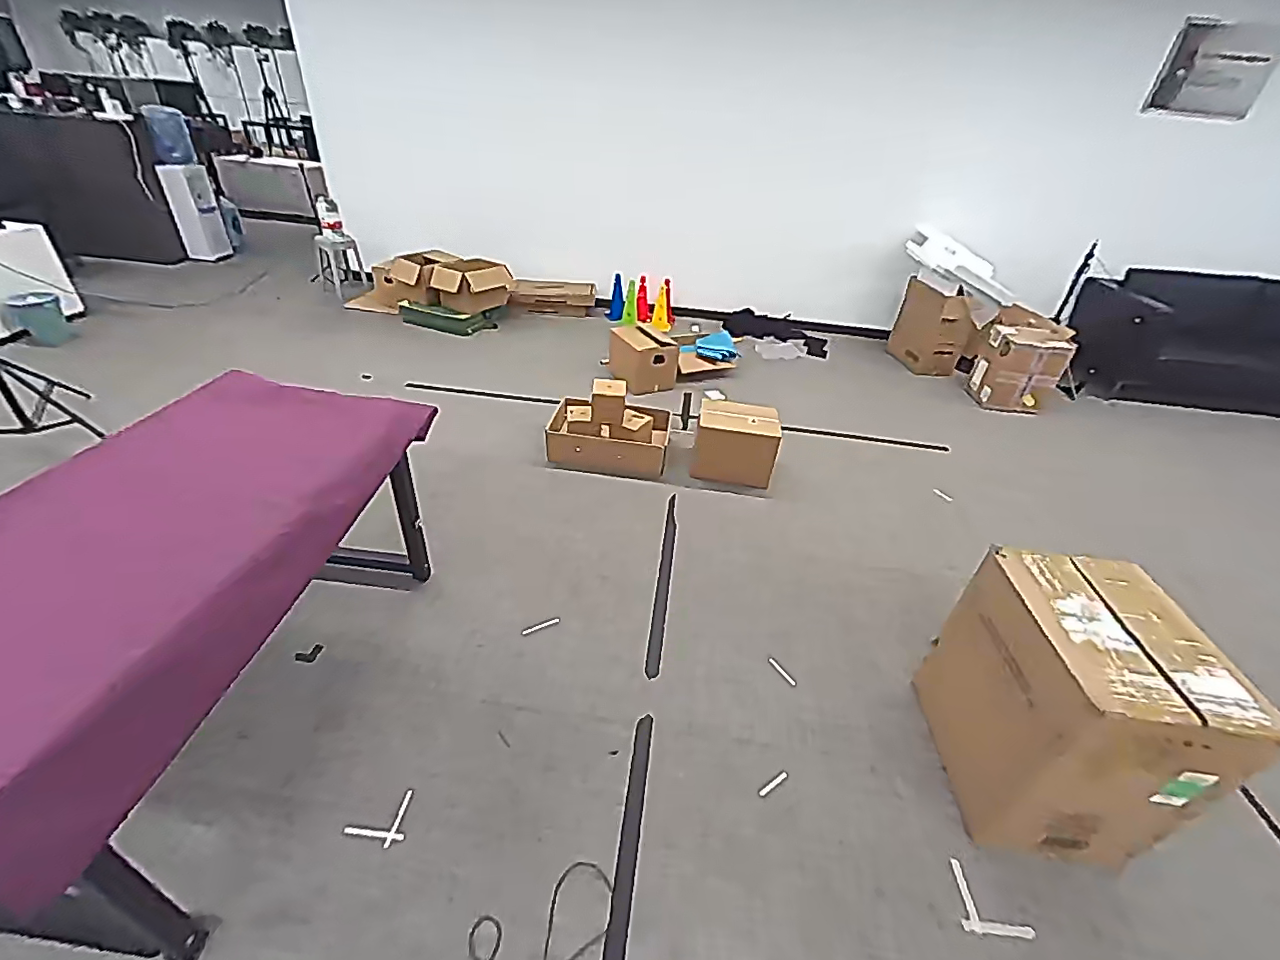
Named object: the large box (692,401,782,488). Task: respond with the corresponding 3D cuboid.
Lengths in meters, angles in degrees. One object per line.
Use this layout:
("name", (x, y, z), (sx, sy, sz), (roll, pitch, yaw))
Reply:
("large box", (0.491, -0.185, 2.817), (0.408, 0.320, 0.320), (8, 35, 2))

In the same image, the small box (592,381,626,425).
("small box", (-0.159, -0.392, 2.769), (0.168, 0.176, 0.179), (4, 33, -4))
